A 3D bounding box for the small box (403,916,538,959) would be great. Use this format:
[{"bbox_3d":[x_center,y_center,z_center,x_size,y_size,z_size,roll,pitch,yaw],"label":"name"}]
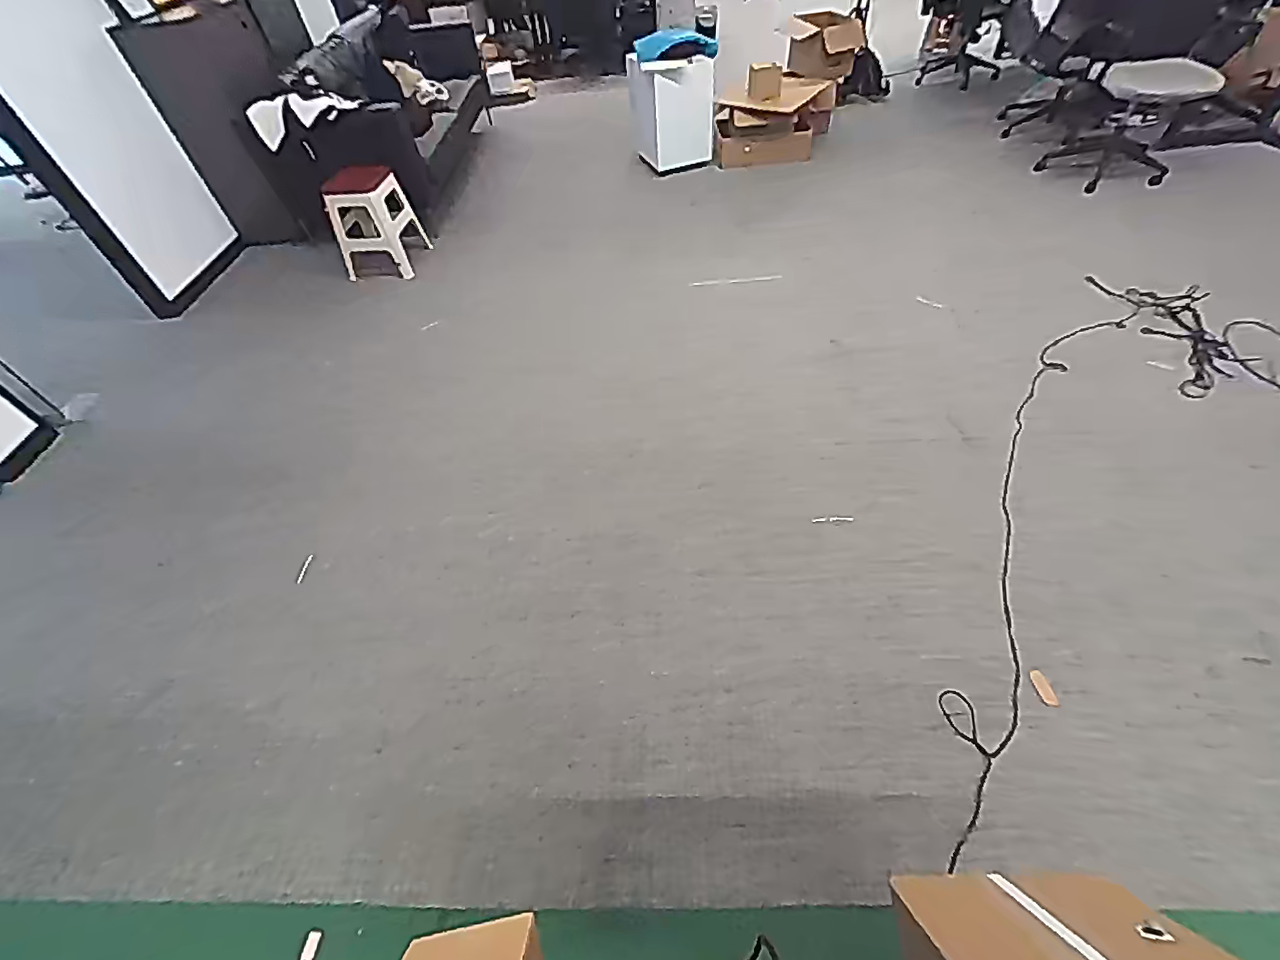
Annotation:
[{"bbox_3d":[-0.208,0.677,0.639,0.168,0.179,0.176,-10,84,-4],"label":"small box"}]
